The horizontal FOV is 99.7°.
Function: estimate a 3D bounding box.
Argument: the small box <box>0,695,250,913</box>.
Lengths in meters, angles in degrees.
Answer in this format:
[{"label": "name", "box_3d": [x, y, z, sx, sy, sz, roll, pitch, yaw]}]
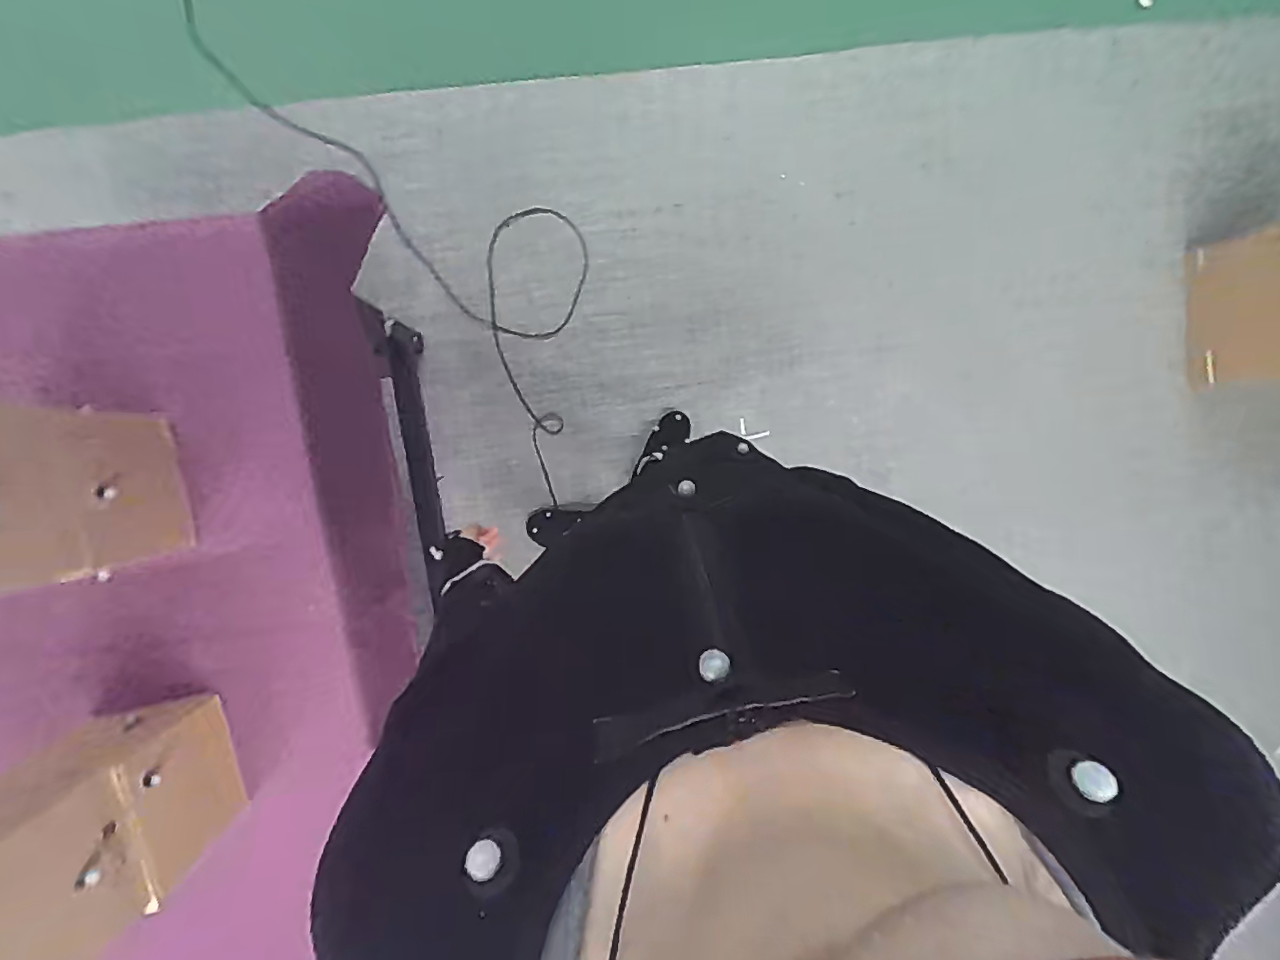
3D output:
[{"label": "small box", "box_3d": [-0.630, 0.400, 0.668, 0.168, 0.176, 0.179, -13, 95, -4]}]

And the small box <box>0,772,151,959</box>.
[{"label": "small box", "box_3d": [-0.627, 0.410, 0.503, 0.179, 0.176, 0.168, -12, 96, -4]}]

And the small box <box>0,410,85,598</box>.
[{"label": "small box", "box_3d": [-0.655, 0.029, 0.468, 0.168, 0.176, 0.179, -8, 96, -5]}]

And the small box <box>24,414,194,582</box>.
[{"label": "small box", "box_3d": [-0.671, 0.020, 0.631, 0.168, 0.176, 0.179, -8, 95, -5]}]
